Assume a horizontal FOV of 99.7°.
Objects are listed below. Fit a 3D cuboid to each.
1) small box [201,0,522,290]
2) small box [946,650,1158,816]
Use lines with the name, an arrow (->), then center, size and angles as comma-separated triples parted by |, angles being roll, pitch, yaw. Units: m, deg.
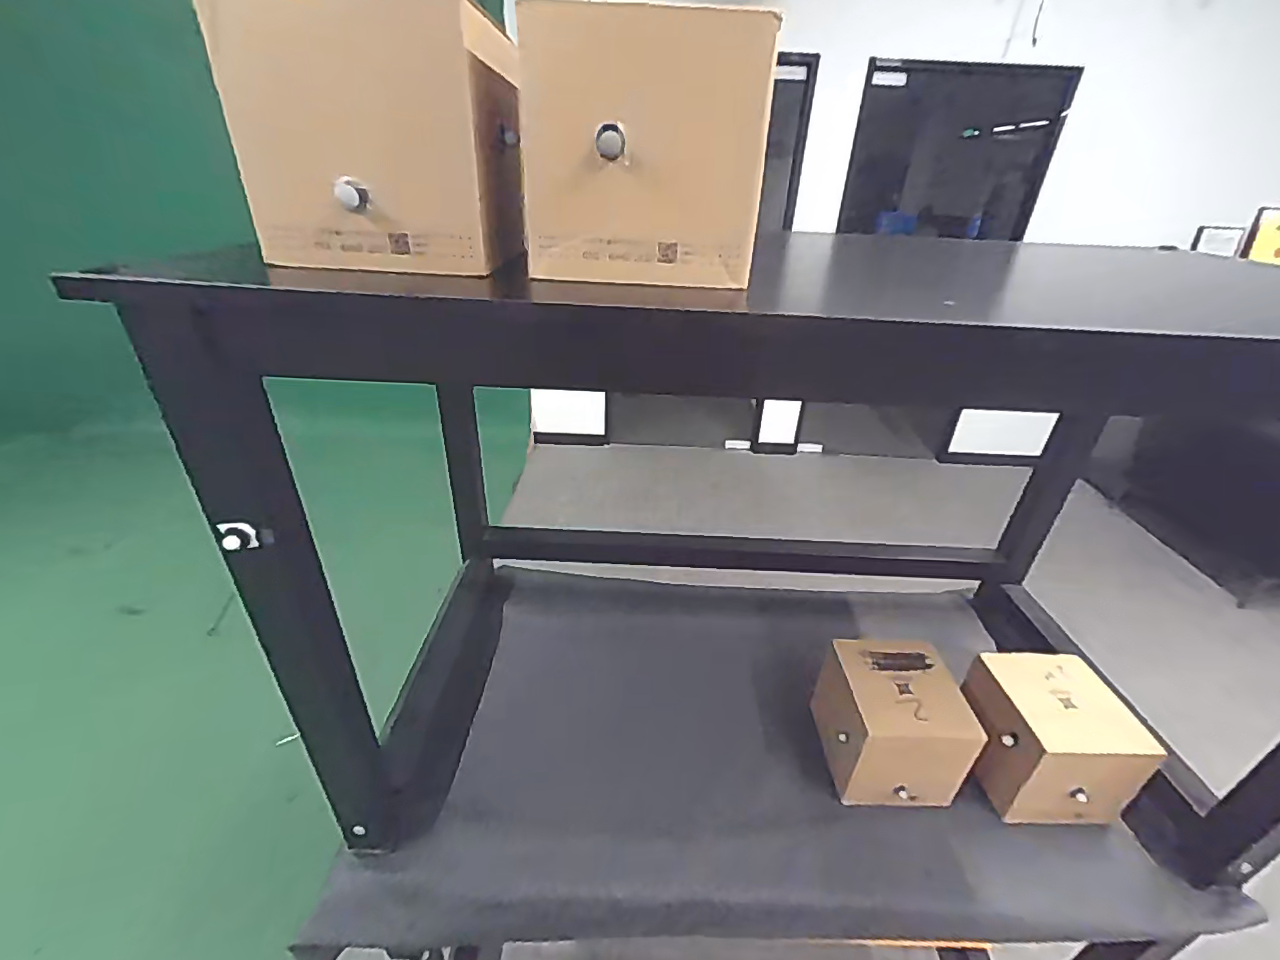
small box -> -0.195, -0.263, 0.445 | 0.168, 0.176, 0.179 | 2, 31, -1
small box -> 0.613, 0.388, 0.833 | 0.168, 0.176, 0.179 | 2, 29, -1
